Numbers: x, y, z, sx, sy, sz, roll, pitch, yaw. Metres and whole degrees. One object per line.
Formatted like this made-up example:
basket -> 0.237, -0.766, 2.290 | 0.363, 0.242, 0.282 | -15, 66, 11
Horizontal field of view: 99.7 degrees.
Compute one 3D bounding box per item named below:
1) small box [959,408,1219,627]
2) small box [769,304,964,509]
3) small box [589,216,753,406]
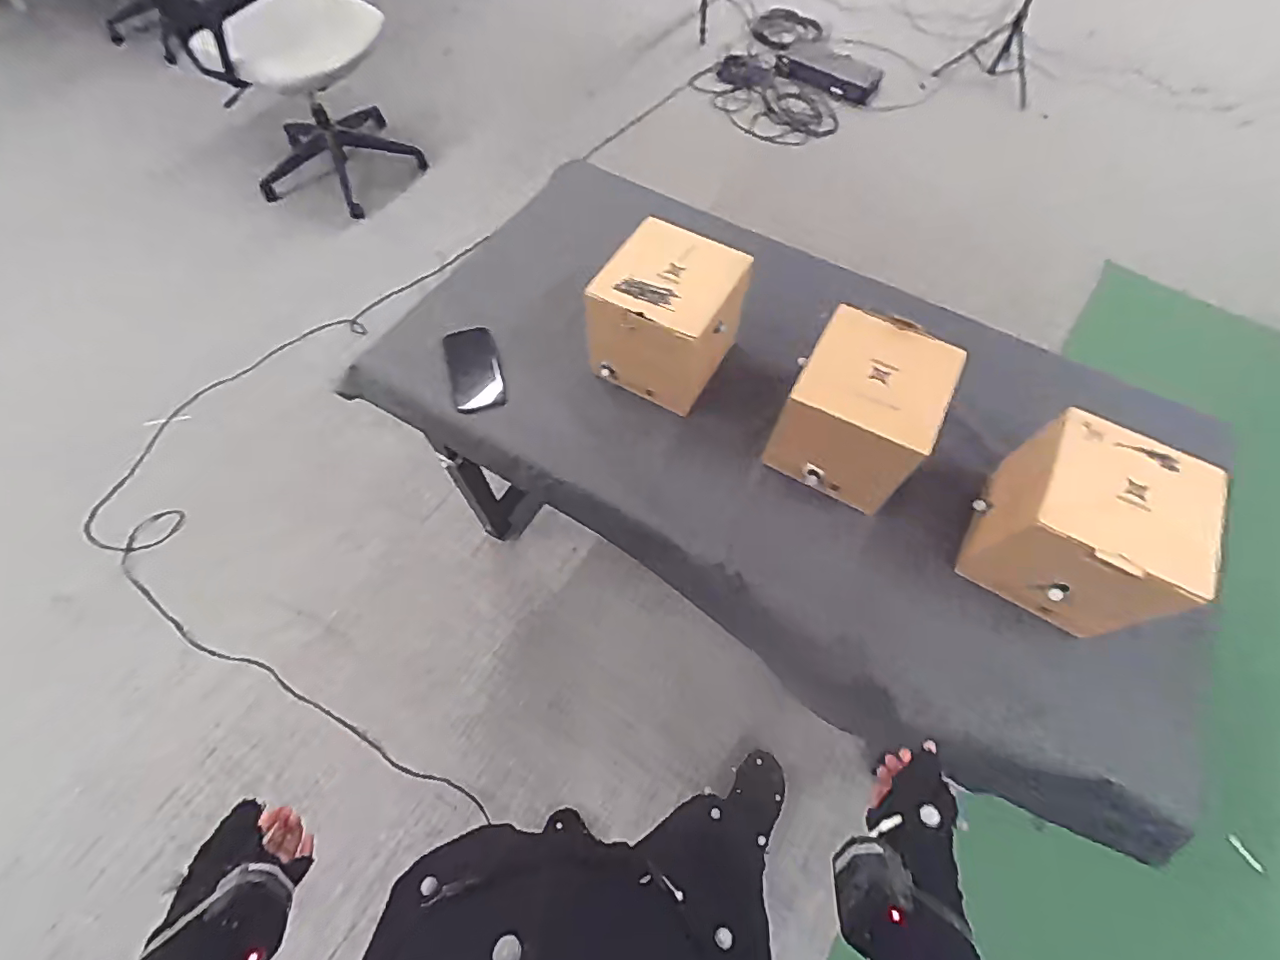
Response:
small box -> 0.523, 0.053, 0.654 | 0.168, 0.176, 0.179 | 29, 67, 14
small box -> 0.291, -0.093, 0.726 | 0.168, 0.176, 0.179 | 26, 66, 13
small box -> 0.044, -0.239, 0.792 | 0.168, 0.176, 0.179 | 28, 65, 12
